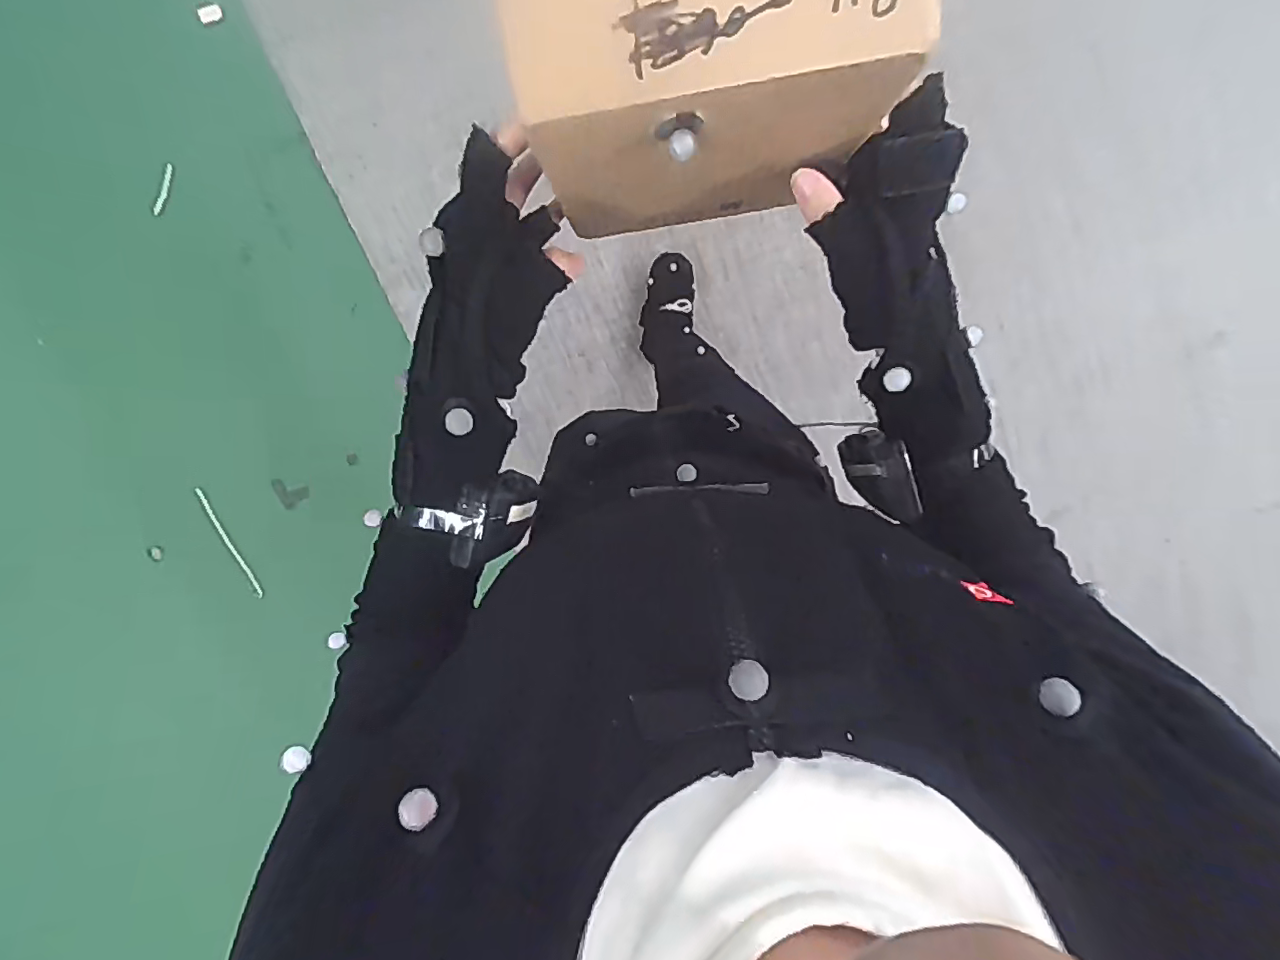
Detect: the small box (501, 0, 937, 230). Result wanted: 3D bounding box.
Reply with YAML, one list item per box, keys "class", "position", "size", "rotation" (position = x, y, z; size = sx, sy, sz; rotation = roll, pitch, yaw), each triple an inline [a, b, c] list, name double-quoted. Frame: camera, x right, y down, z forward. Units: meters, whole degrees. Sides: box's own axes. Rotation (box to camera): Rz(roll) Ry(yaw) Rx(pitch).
- class: "small box"
  position: [0.023, -0.253, 0.275]
  size: [0.168, 0.176, 0.179]
  rotation: [-8, 99, 4]
